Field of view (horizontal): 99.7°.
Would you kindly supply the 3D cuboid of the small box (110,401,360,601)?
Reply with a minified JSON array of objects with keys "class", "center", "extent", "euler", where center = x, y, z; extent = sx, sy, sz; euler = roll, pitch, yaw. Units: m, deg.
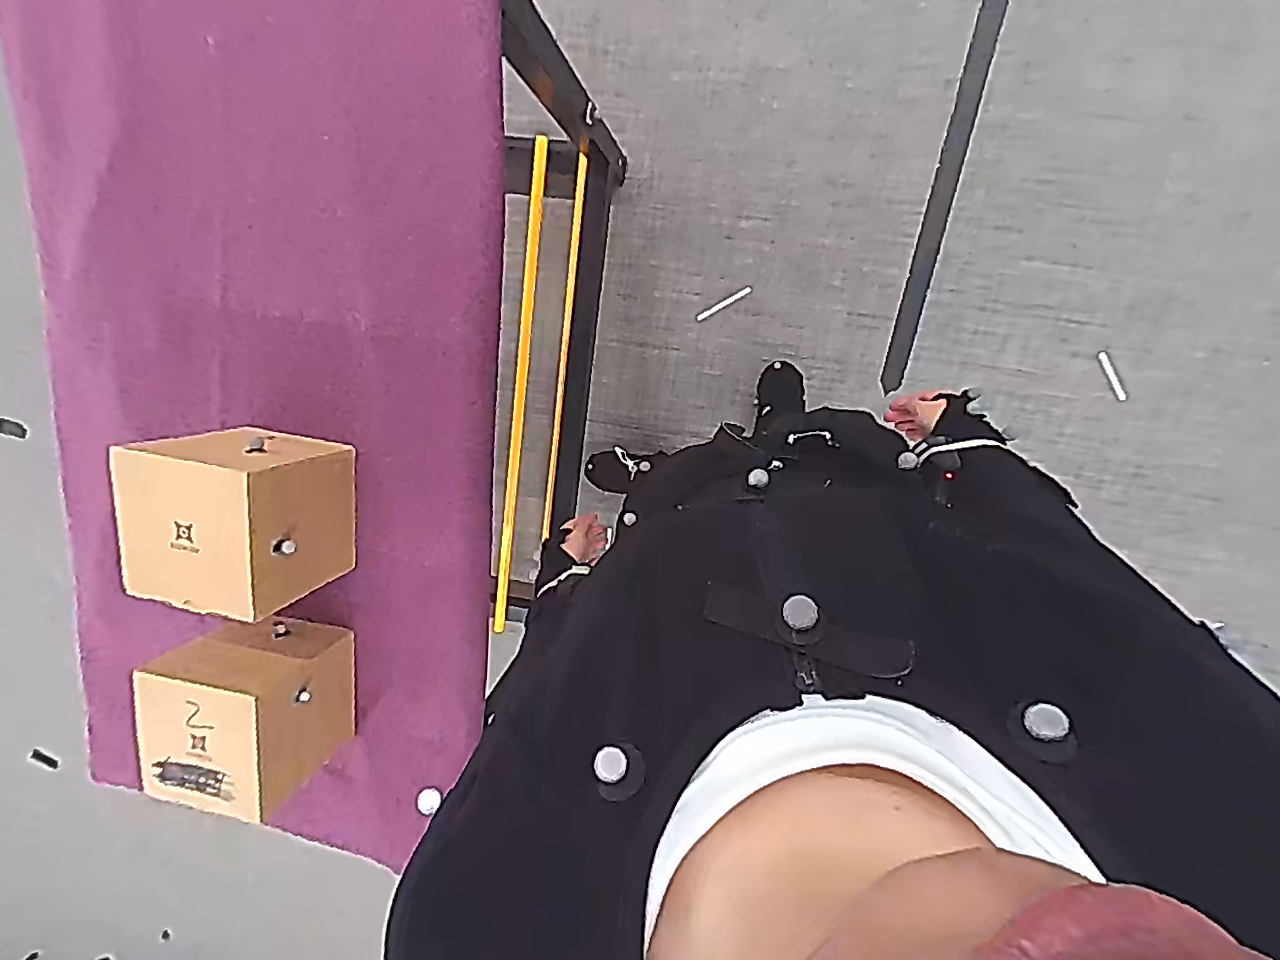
[{"class":"small box","center":[-0.453,0.011,0.630],"extent":[0.168,0.176,0.179],"euler":[12,106,5]}]
